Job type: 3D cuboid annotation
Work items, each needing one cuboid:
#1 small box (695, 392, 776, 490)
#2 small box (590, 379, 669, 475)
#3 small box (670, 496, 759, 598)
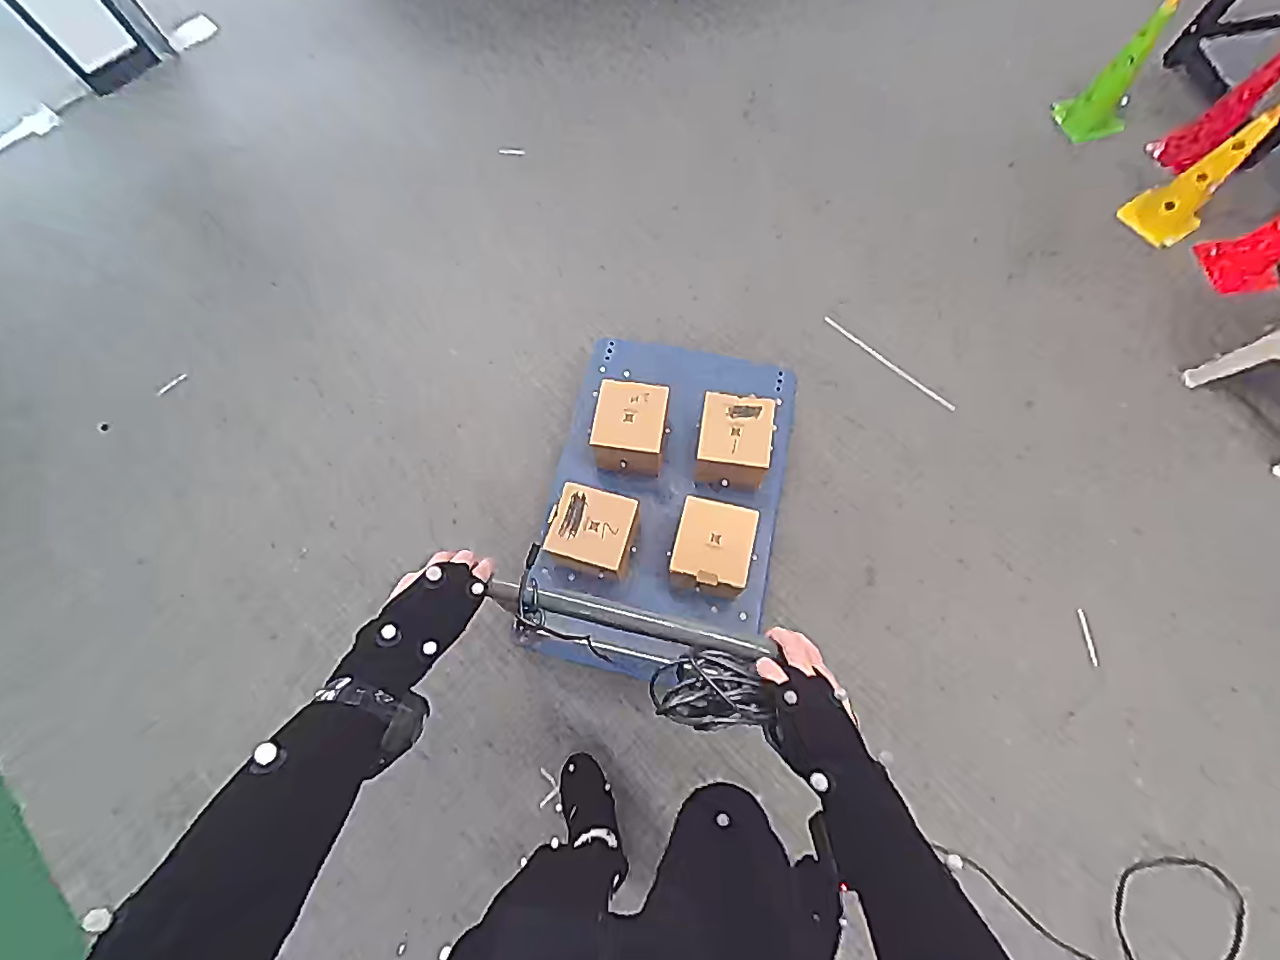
[{"bbox_3d":[0.228,-0.091,1.327,0.168,0.176,0.179,8,72,6],"label":"small box"},{"bbox_3d":[-0.020,-0.126,1.351,0.168,0.176,0.179,9,71,5],"label":"small box"},{"bbox_3d":[0.165,0.158,1.243,0.168,0.176,0.179,13,72,7],"label":"small box"}]
